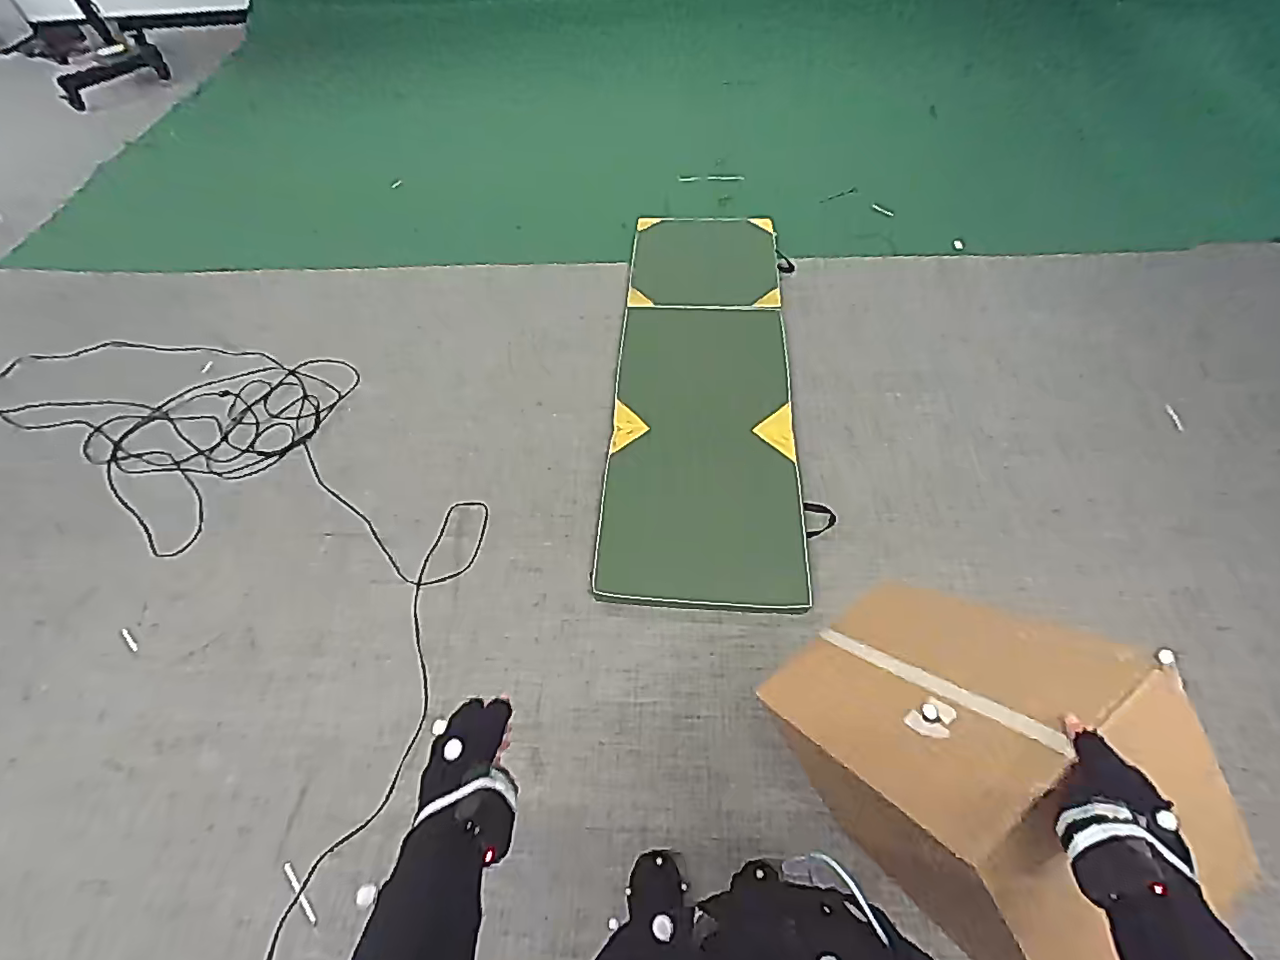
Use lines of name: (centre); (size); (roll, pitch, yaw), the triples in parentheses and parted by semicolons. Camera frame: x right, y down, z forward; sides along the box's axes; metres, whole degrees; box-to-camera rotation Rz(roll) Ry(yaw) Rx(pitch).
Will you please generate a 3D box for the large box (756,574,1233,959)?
large box: (0.446, 0.378, 0.754); (0.320, 0.408, 0.320); (-36, 103, -14)
